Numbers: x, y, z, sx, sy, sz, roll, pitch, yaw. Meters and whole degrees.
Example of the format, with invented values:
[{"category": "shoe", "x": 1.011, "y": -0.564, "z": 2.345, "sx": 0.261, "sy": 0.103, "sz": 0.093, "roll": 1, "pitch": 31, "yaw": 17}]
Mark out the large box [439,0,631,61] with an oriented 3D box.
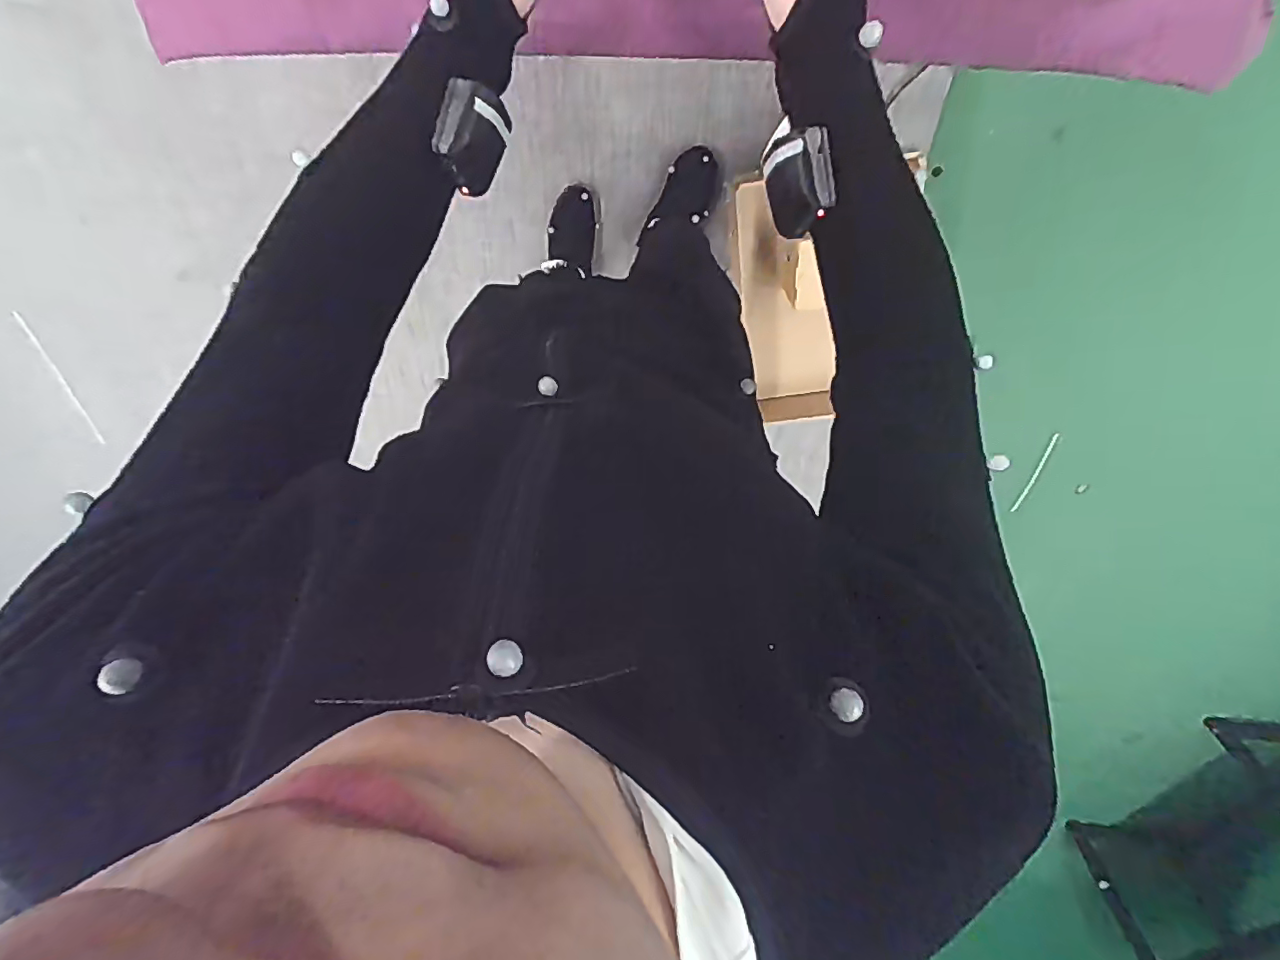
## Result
[{"category": "large box", "x": -0.187, "y": -1.011, "z": 0.958, "sx": 0.320, "sy": 0.320, "sz": 0.408, "roll": 0, "pitch": 124, "yaw": 2}]
